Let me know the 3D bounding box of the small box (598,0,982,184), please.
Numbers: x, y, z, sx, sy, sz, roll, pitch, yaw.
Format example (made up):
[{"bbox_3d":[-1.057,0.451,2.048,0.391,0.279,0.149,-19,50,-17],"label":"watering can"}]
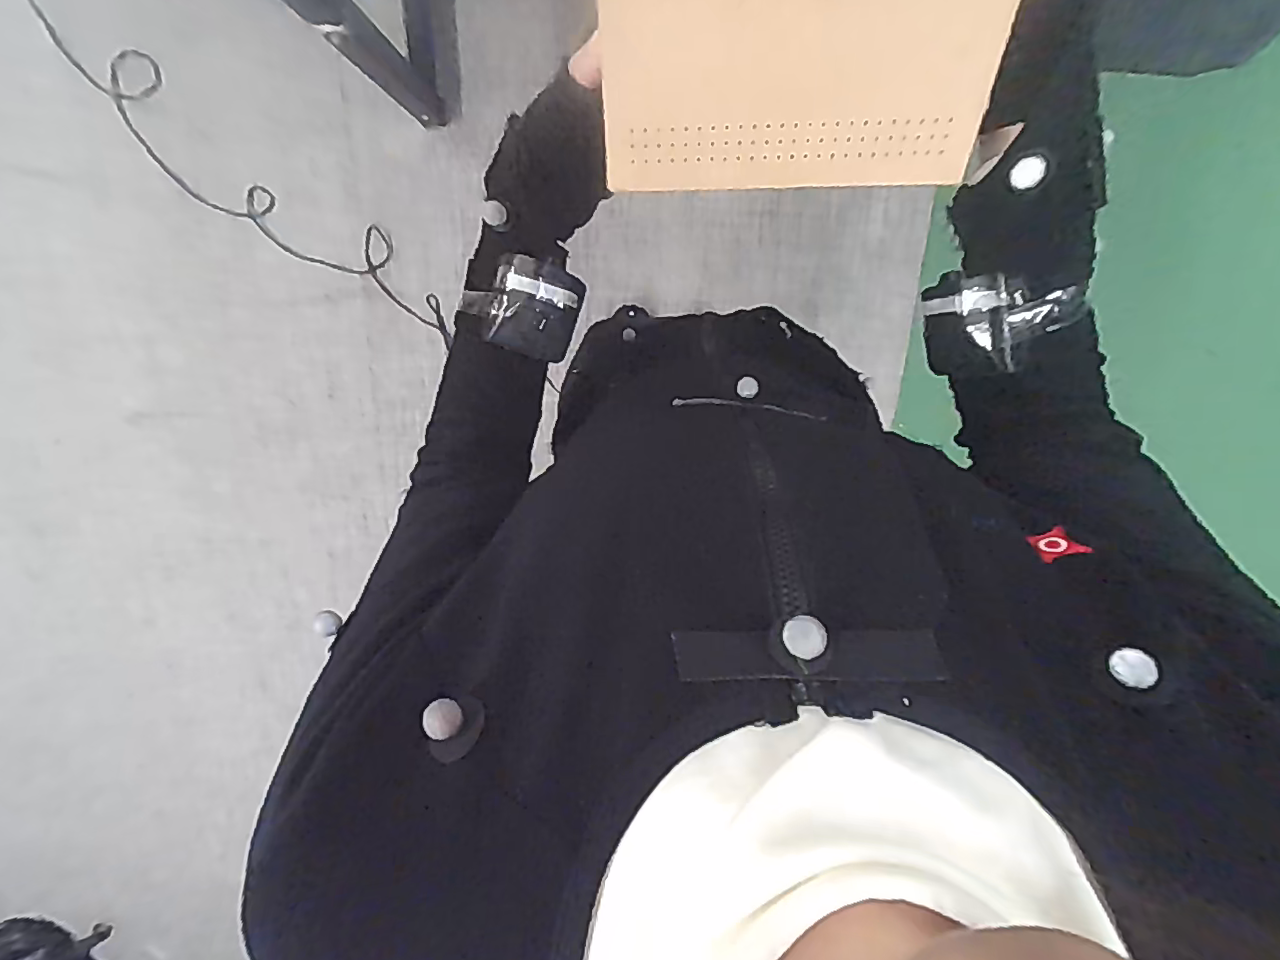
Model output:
[{"bbox_3d":[0.072,-0.269,0.291,0.179,0.168,0.176,1,129,3],"label":"small box"}]
